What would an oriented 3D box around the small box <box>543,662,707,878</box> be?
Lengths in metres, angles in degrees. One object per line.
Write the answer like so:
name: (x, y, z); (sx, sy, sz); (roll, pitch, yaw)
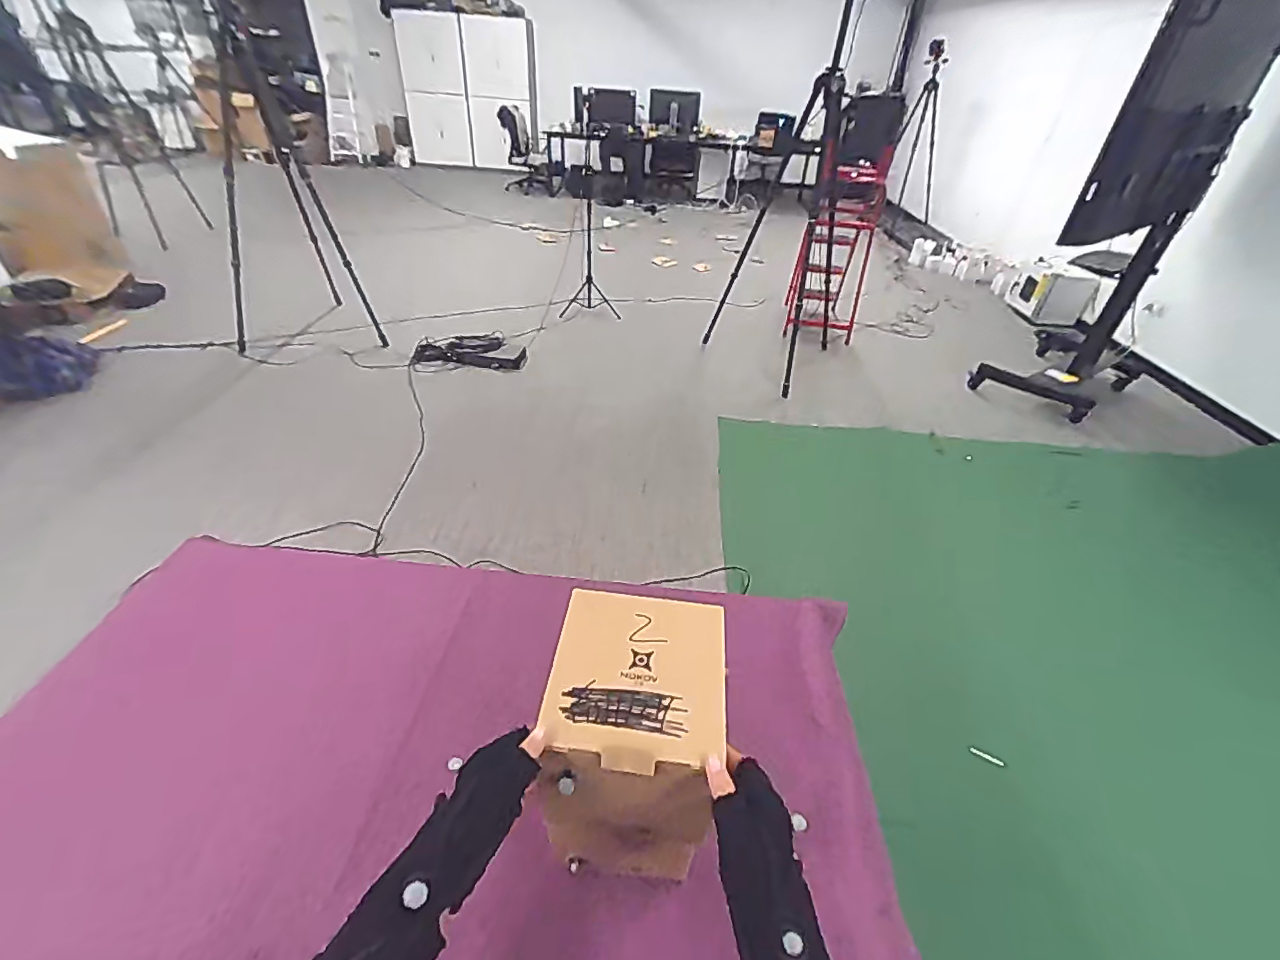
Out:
small box: (-0.014, 0.360, 0.672); (0.168, 0.176, 0.179); (9, 38, 3)
